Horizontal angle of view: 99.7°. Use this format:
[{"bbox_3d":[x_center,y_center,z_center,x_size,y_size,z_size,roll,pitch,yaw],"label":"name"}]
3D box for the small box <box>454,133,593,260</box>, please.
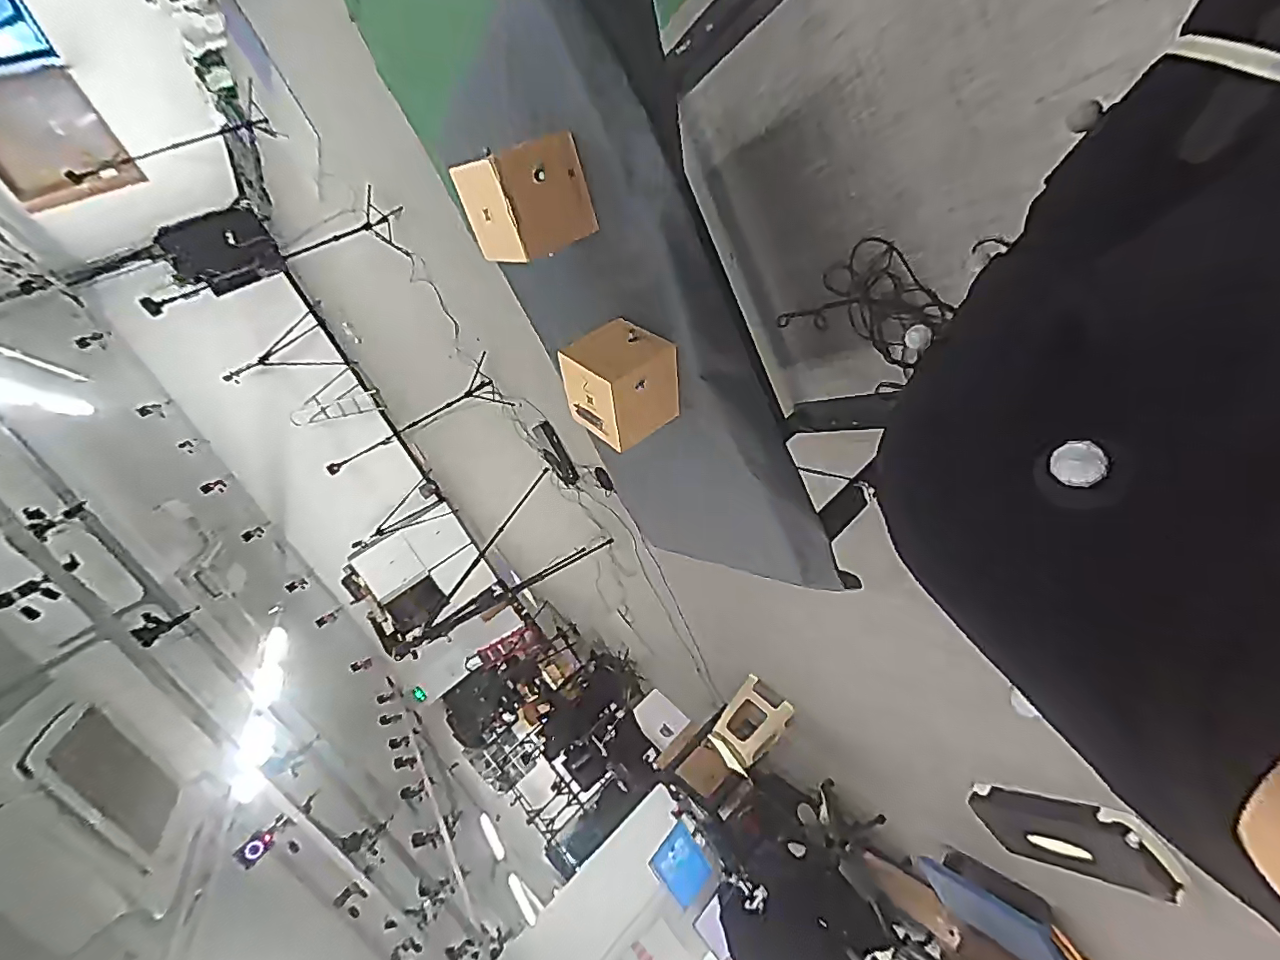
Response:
[{"bbox_3d":[-0.203,-0.516,0.991,0.179,0.176,0.168,27,143,46],"label":"small box"}]
